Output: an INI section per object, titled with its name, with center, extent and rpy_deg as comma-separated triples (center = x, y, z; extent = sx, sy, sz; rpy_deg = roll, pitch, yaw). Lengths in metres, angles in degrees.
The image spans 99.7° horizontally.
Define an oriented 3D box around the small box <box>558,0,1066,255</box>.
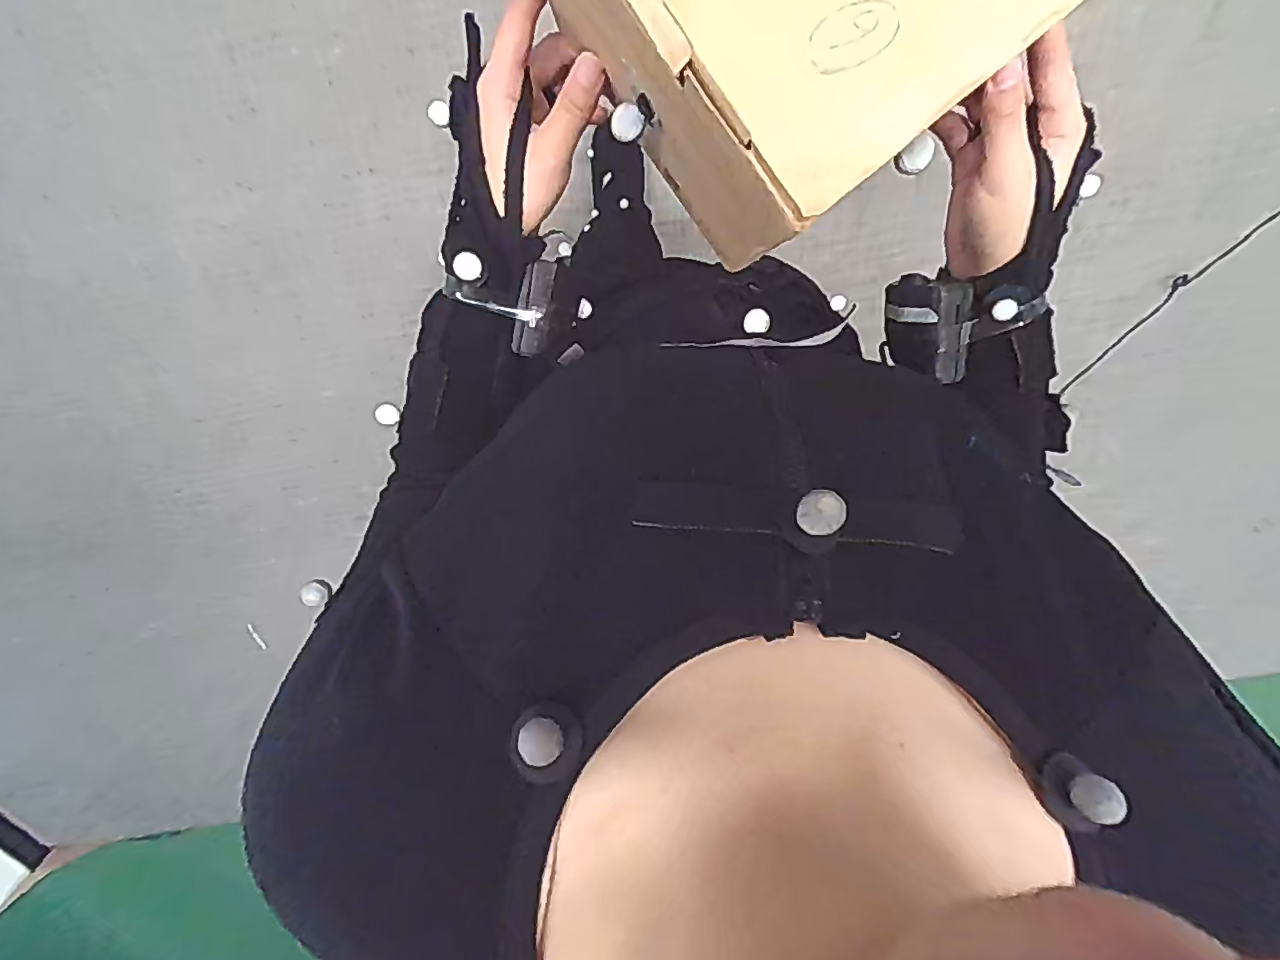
[small box]
center = 0.066, -0.215, 0.213
extent = 0.179, 0.176, 0.168
rpy_deg = -37, 102, 13
